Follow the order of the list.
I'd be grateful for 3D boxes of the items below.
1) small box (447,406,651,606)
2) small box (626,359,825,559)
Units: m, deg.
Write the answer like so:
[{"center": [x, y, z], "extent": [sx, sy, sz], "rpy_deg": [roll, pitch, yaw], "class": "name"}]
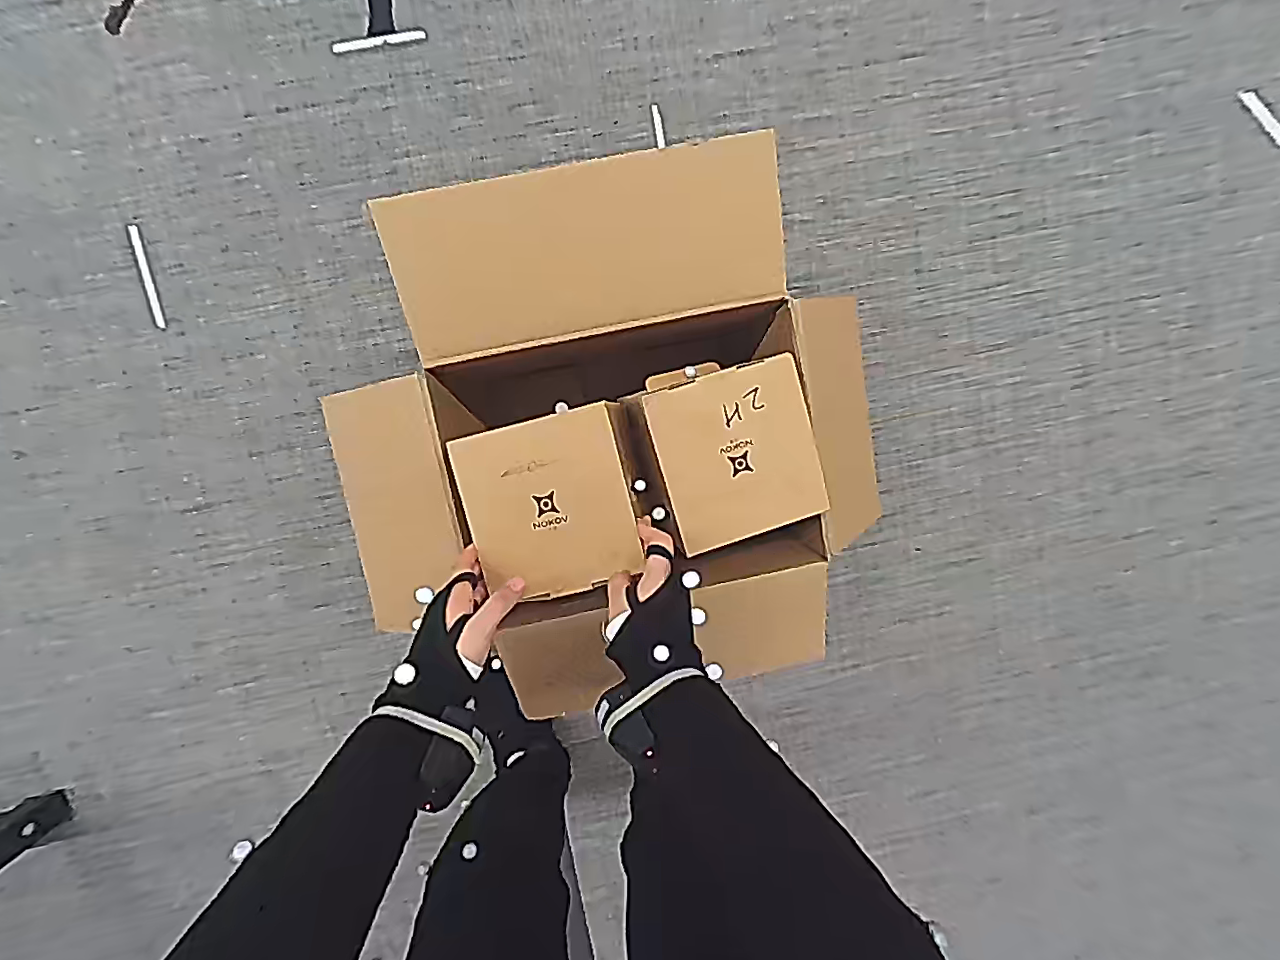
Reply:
[{"center": [-0.086, 0.019, 0.614], "extent": [0.168, 0.176, 0.179], "rpy_deg": [-14, 95, 5], "class": "small box"}, {"center": [0.089, -0.031, 0.636], "extent": [0.168, 0.176, 0.179], "rpy_deg": [-18, 99, -5], "class": "small box"}]
